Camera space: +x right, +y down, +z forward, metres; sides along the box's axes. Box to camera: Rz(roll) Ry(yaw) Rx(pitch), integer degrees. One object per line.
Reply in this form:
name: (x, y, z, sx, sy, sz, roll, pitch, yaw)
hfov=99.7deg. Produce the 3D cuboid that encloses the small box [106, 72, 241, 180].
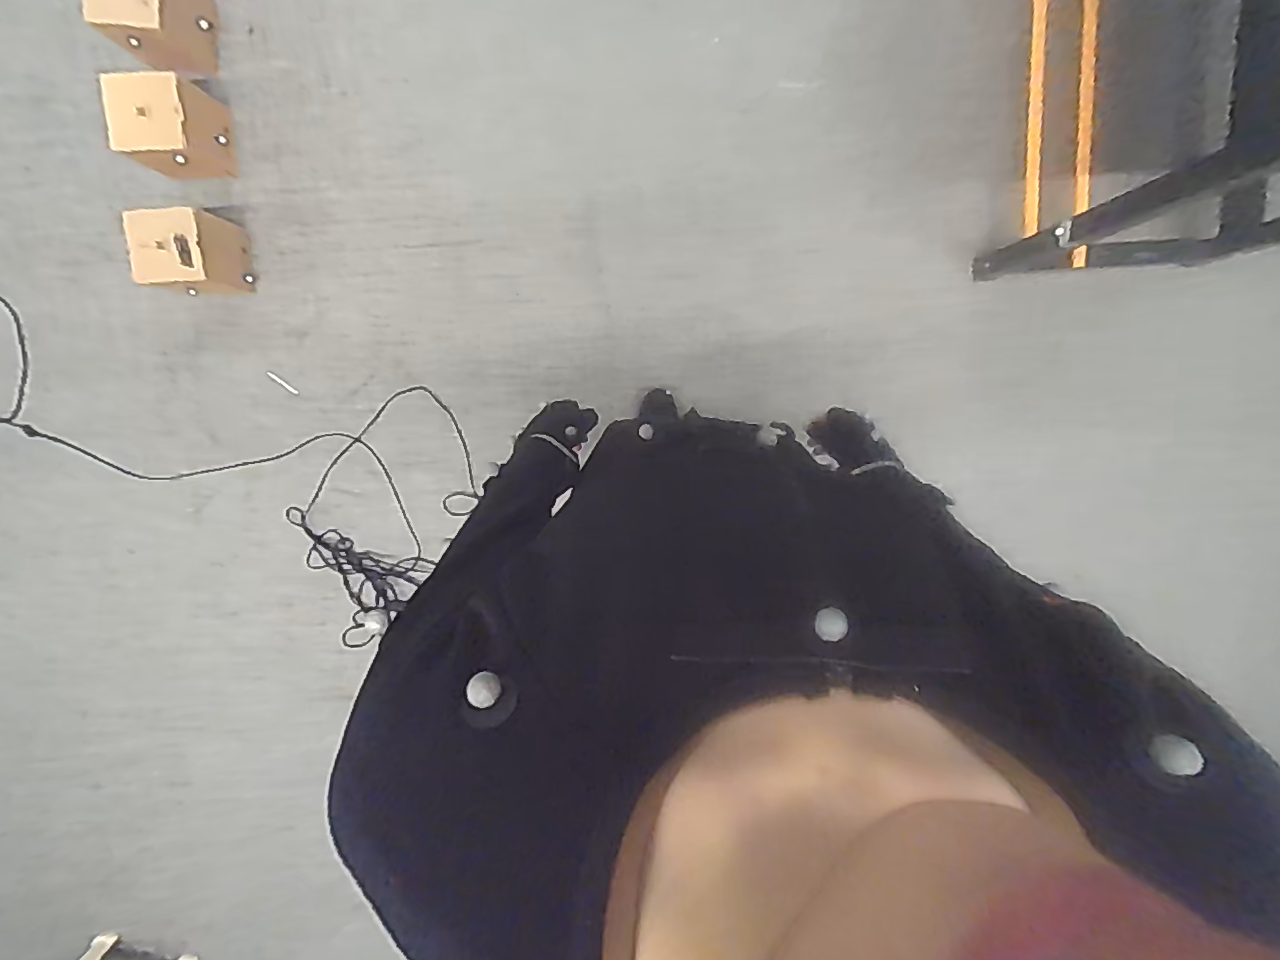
small box: (-1.120, -0.848, 1.310, 0.179, 0.176, 0.168, -2, 98, 1)

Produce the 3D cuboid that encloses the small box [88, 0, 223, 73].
small box: (-1.137, -1.103, 1.276, 0.179, 0.176, 0.168, 6, 98, 0)

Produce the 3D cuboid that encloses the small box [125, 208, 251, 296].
small box: (-1.108, -0.560, 1.346, 0.179, 0.176, 0.168, -2, 97, 2)
